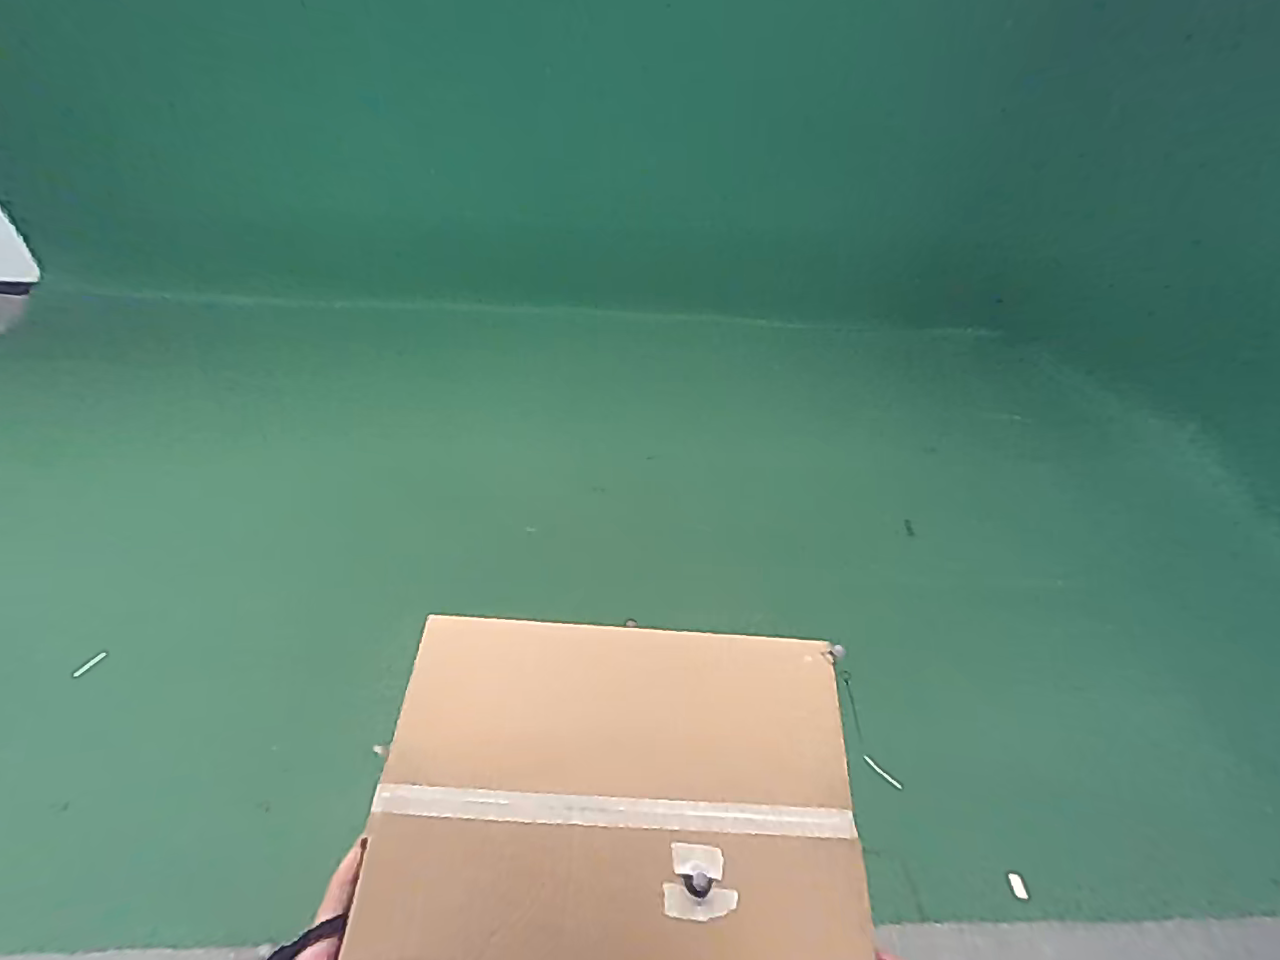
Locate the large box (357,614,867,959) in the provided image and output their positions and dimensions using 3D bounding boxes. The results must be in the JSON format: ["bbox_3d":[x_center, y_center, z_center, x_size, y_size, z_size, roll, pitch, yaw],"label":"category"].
[{"bbox_3d":[-0.025,0.356,0.603,0.408,0.320,0.320,4,59,-2],"label":"large box"}]
